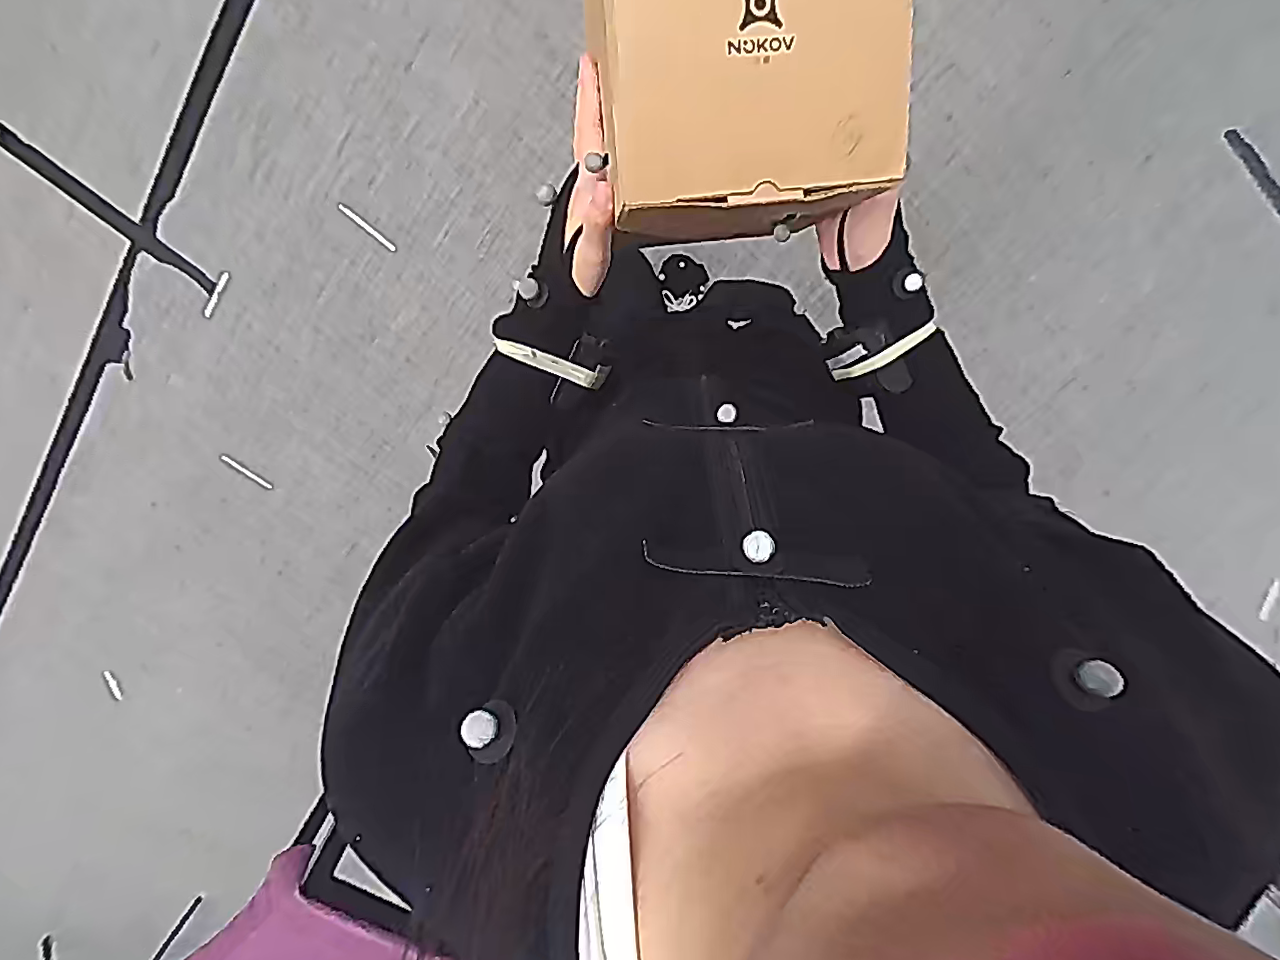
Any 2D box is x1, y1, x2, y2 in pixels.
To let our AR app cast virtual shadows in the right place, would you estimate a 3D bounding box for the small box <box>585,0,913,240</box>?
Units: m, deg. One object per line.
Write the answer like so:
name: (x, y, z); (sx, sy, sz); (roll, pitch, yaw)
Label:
small box: (0.054, -0.265, 0.356); (0.168, 0.176, 0.179); (-8, 105, -4)
